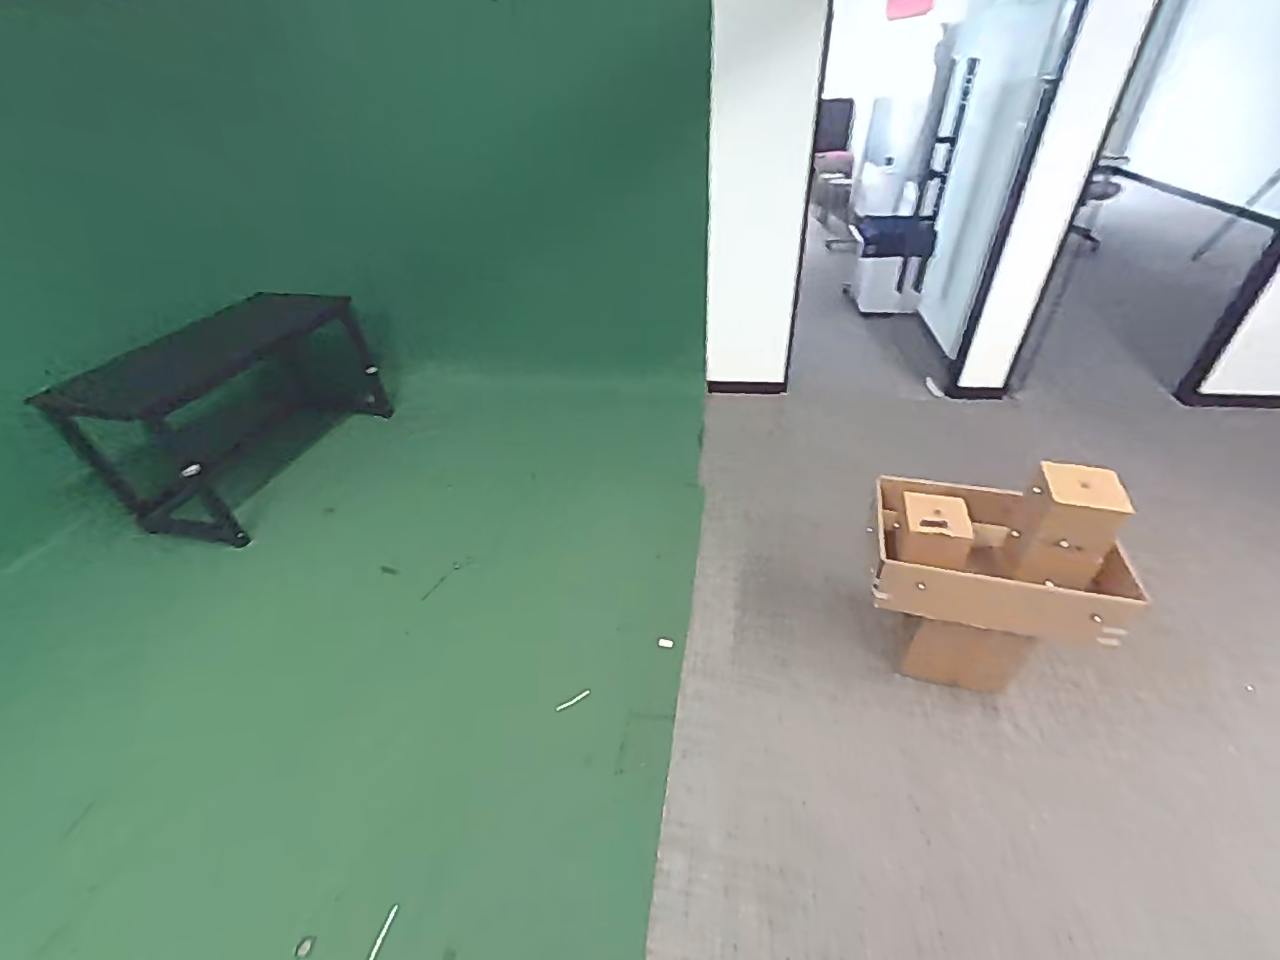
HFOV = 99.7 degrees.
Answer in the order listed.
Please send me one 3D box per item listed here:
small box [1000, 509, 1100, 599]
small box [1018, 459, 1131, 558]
[{"bbox_3d":[1.138,0.201,1.518,0.168,0.176,0.179,11,41,18],"label":"small box"},{"bbox_3d":[1.124,0.073,1.418,0.168,0.176,0.179,10,41,17],"label":"small box"}]
